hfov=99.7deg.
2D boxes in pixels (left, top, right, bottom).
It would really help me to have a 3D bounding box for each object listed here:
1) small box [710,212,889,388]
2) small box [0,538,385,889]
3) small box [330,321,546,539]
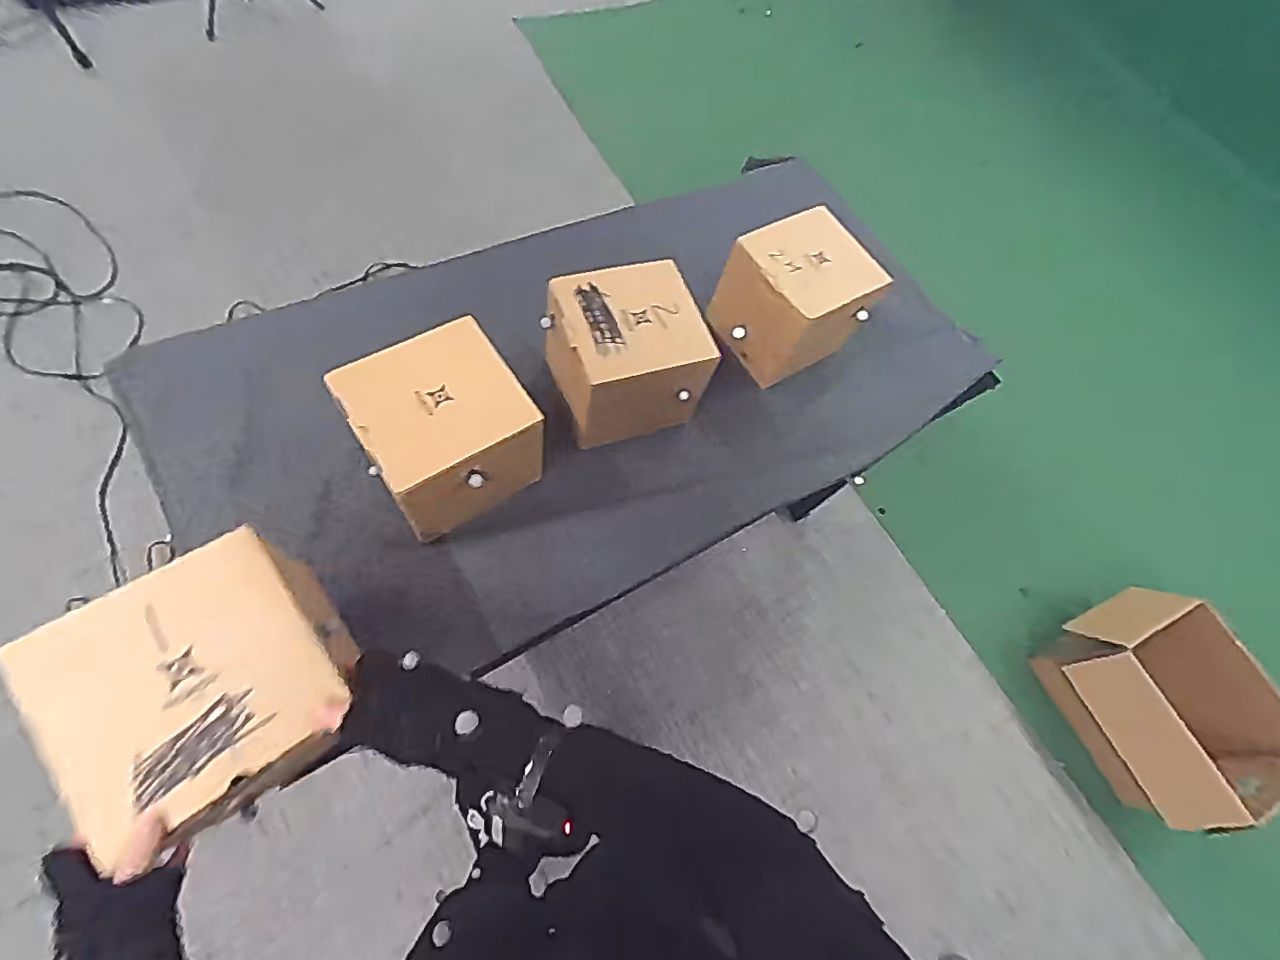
[{"bbox_3d":[0.237,-0.276,0.847,0.179,0.176,0.168,-28,74,-20],"label":"small box"},{"bbox_3d":[-0.342,0.180,0.455,0.168,0.176,0.179,-33,79,-25],"label":"small box"},{"bbox_3d":[-0.234,-0.055,0.664,0.179,0.176,0.168,-32,76,-21],"label":"small box"}]
